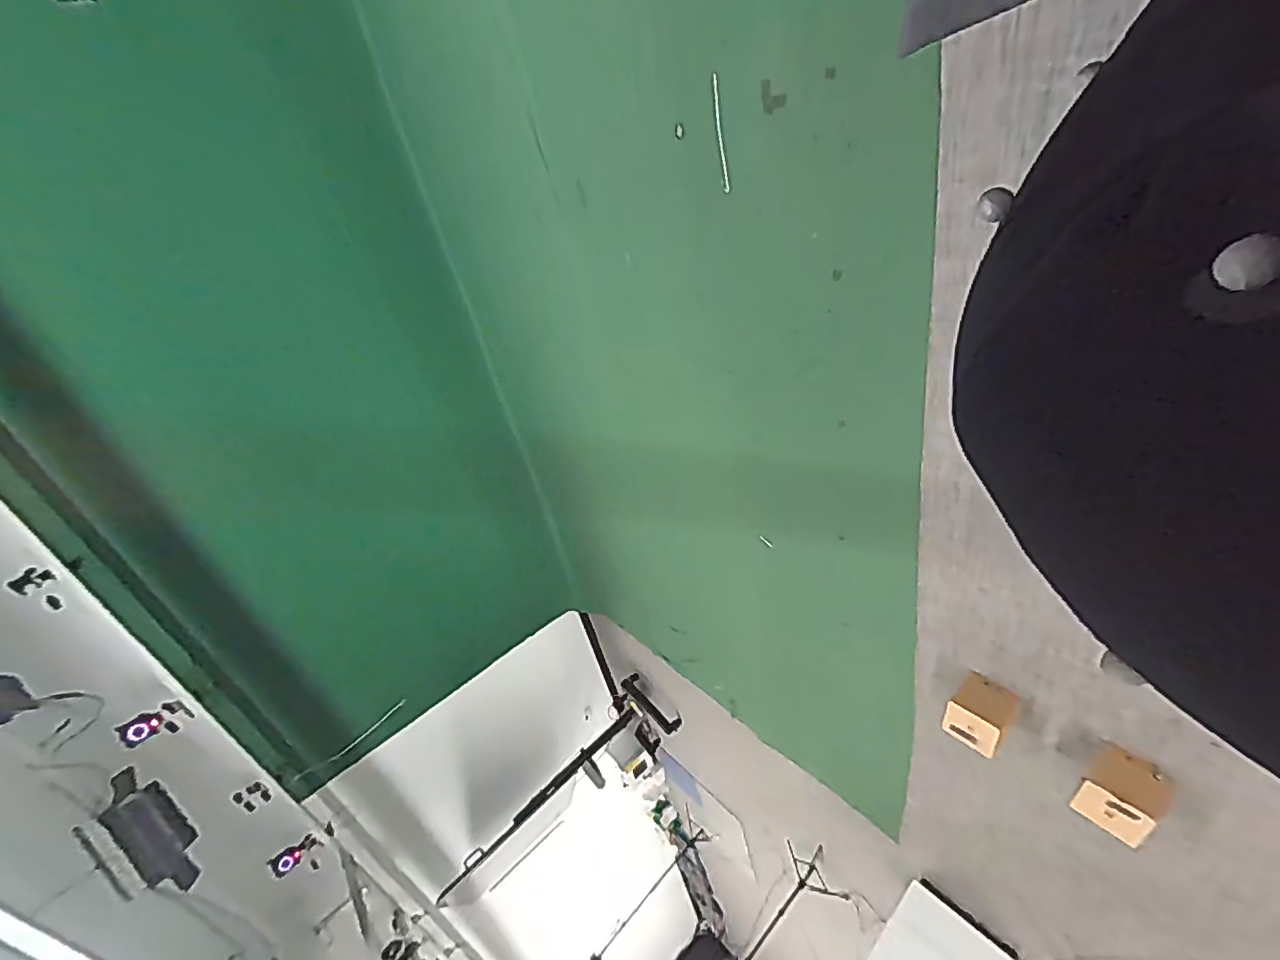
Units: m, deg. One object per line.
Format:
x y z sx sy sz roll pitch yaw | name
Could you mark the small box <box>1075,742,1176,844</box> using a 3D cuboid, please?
1.453 0.928 1.616 0.168 0.176 0.179 30 142 42 | small box
